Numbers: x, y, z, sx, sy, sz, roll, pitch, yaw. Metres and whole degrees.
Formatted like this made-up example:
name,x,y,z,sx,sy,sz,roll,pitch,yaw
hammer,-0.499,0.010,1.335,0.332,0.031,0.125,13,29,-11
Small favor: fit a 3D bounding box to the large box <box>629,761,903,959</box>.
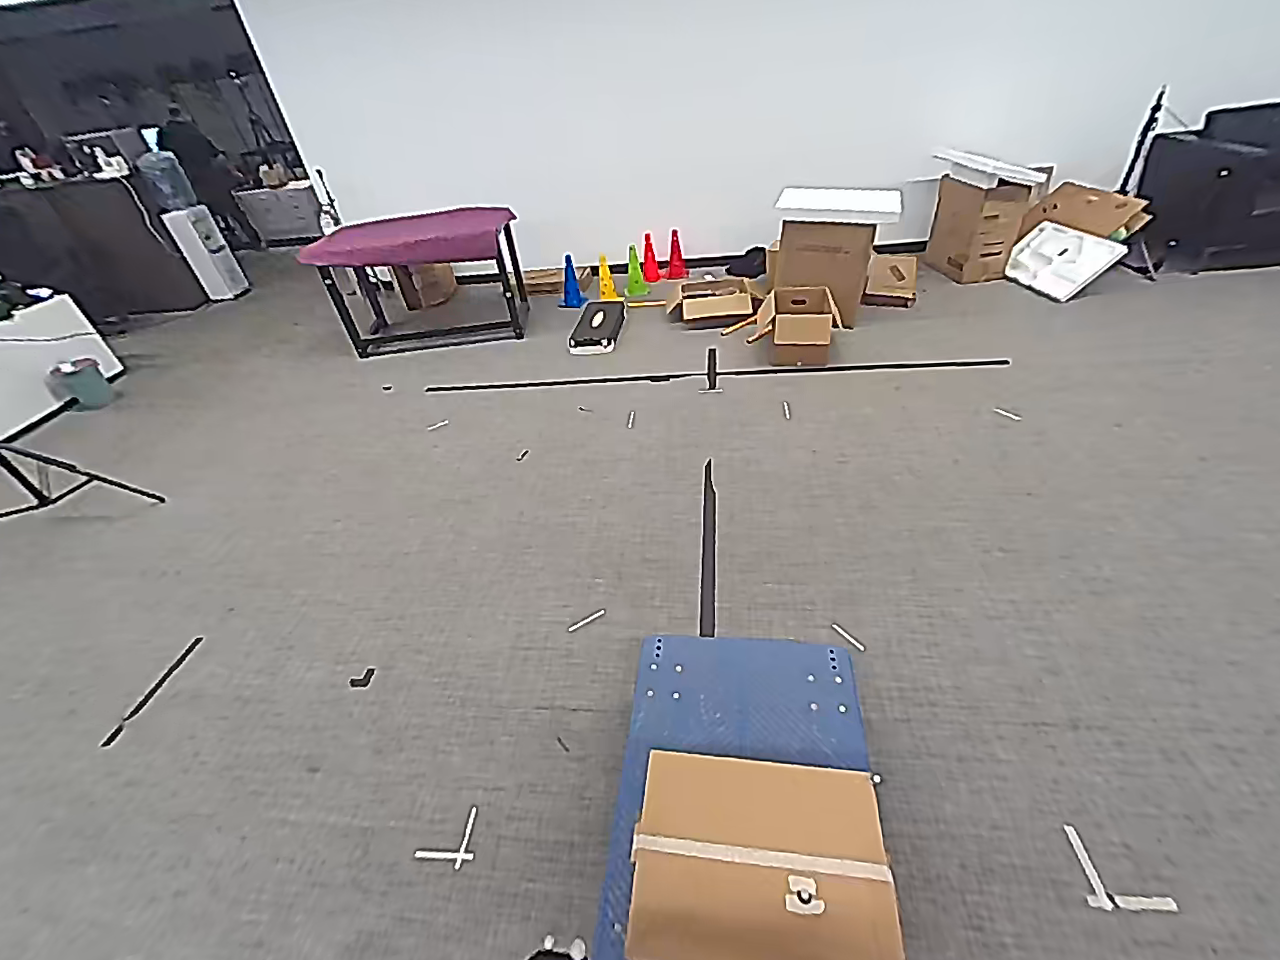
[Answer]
name,x,y,z,sx,sy,sz,roll,pitch,yaw
large box,0.205,0.746,0.965,0.408,0.320,0.320,2,40,9
